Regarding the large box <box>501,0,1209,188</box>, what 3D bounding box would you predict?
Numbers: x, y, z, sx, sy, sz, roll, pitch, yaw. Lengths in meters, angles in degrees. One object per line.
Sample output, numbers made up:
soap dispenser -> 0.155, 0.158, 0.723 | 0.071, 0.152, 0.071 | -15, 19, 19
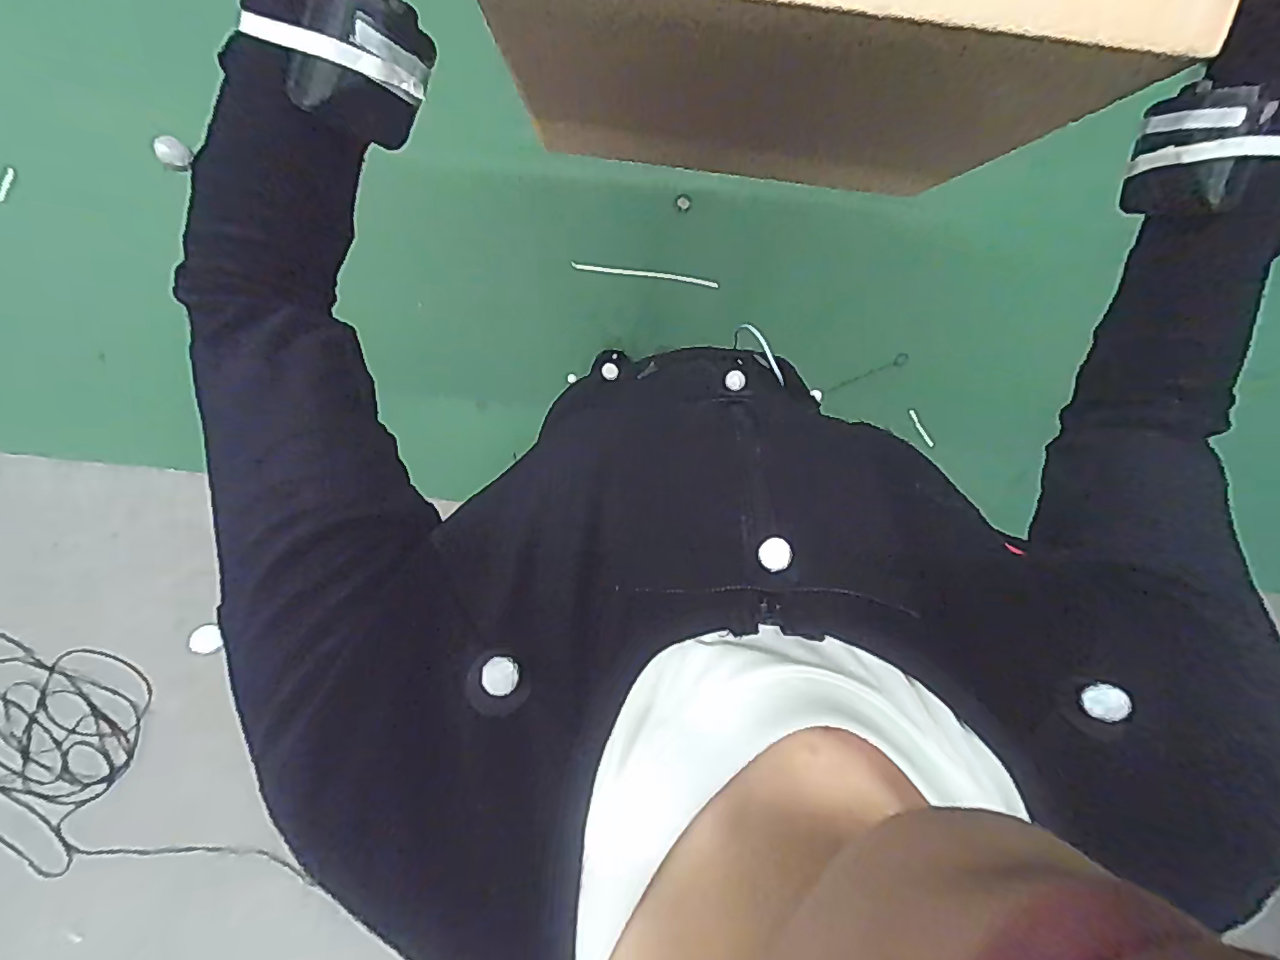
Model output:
large box -> 0.119, -0.438, 0.397 | 0.408, 0.320, 0.320 | 5, 105, -4
